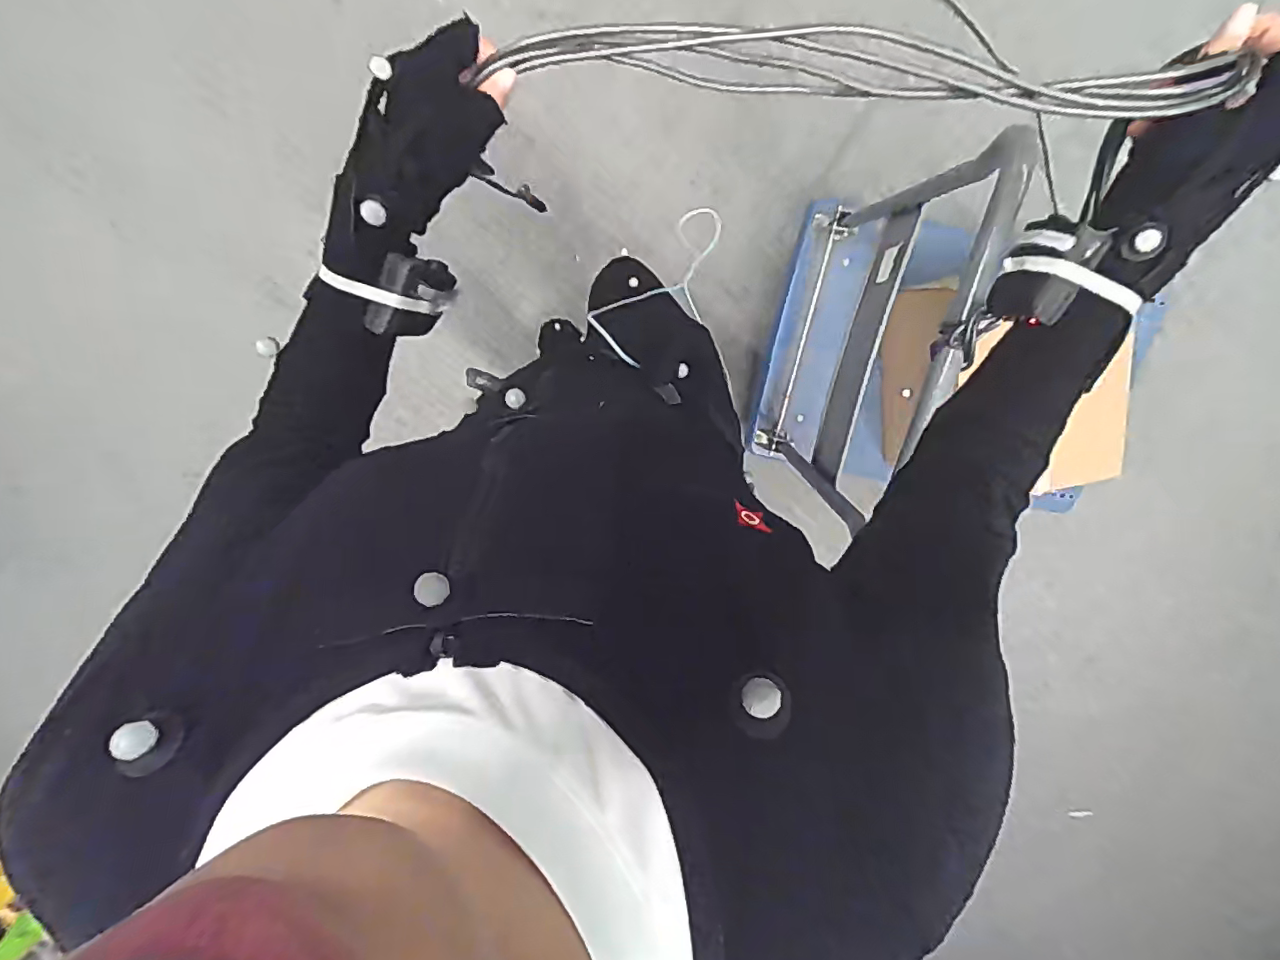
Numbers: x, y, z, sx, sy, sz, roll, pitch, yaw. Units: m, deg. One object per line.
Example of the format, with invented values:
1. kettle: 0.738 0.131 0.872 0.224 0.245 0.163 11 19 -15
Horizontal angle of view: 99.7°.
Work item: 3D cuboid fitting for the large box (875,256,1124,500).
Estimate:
1. large box: 0.718 -0.215 1.132 0.320 0.320 0.408 -11 107 1
